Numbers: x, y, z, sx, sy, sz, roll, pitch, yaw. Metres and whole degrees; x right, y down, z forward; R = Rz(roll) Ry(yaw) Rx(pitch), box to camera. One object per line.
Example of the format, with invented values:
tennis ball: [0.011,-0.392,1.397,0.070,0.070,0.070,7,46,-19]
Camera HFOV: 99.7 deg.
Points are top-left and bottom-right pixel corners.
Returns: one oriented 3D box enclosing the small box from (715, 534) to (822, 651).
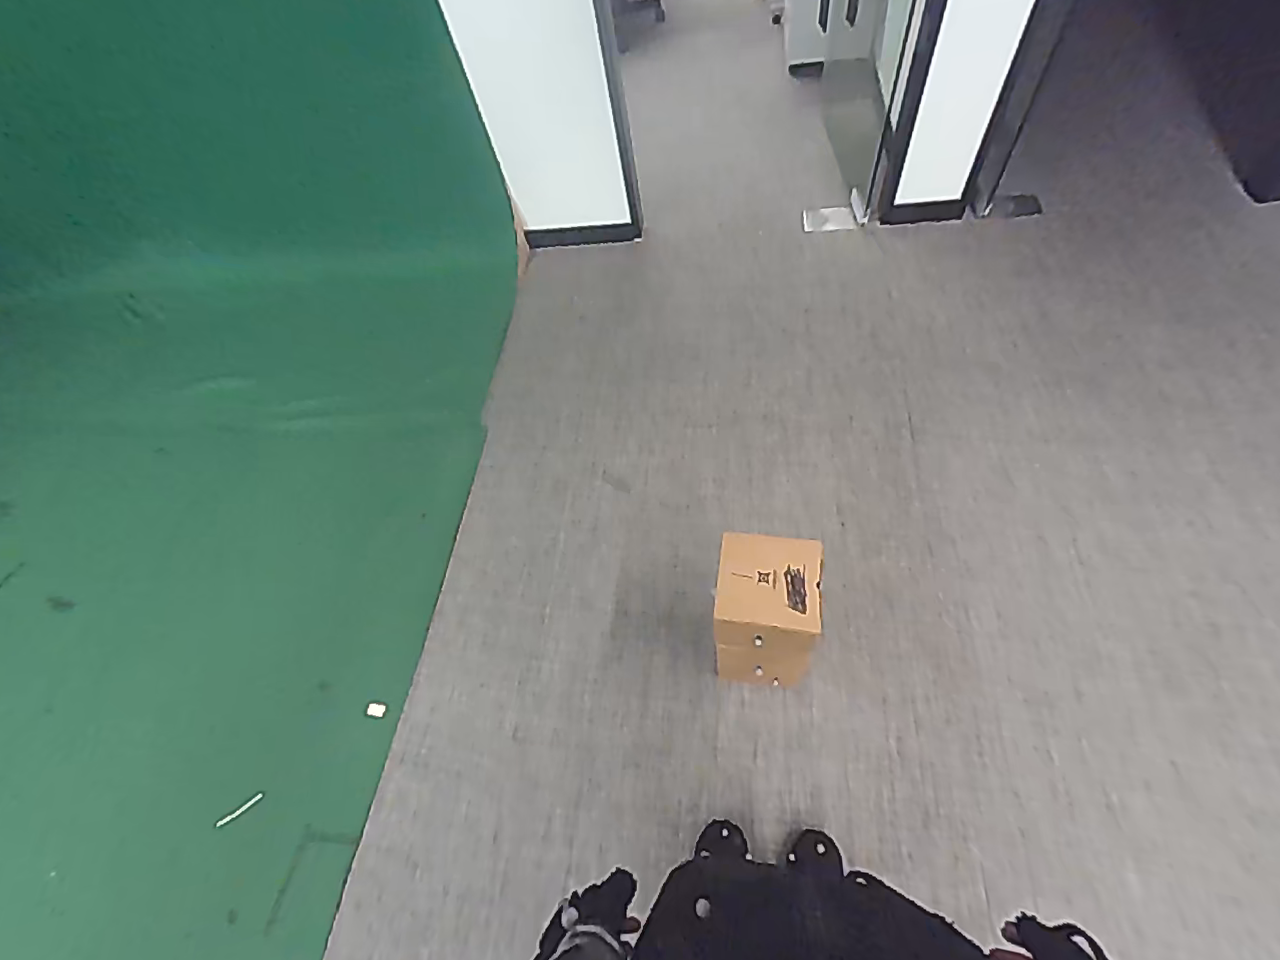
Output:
small box: [0.233,0.213,1.004,0.179,0.176,0.168,3,60,10]

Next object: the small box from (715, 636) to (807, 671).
small box: [0.254,0.299,1.144,0.179,0.176,0.168,4,60,12]

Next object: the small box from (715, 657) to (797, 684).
small box: [0.275,0.379,1.285,0.179,0.176,0.168,1,59,12]
